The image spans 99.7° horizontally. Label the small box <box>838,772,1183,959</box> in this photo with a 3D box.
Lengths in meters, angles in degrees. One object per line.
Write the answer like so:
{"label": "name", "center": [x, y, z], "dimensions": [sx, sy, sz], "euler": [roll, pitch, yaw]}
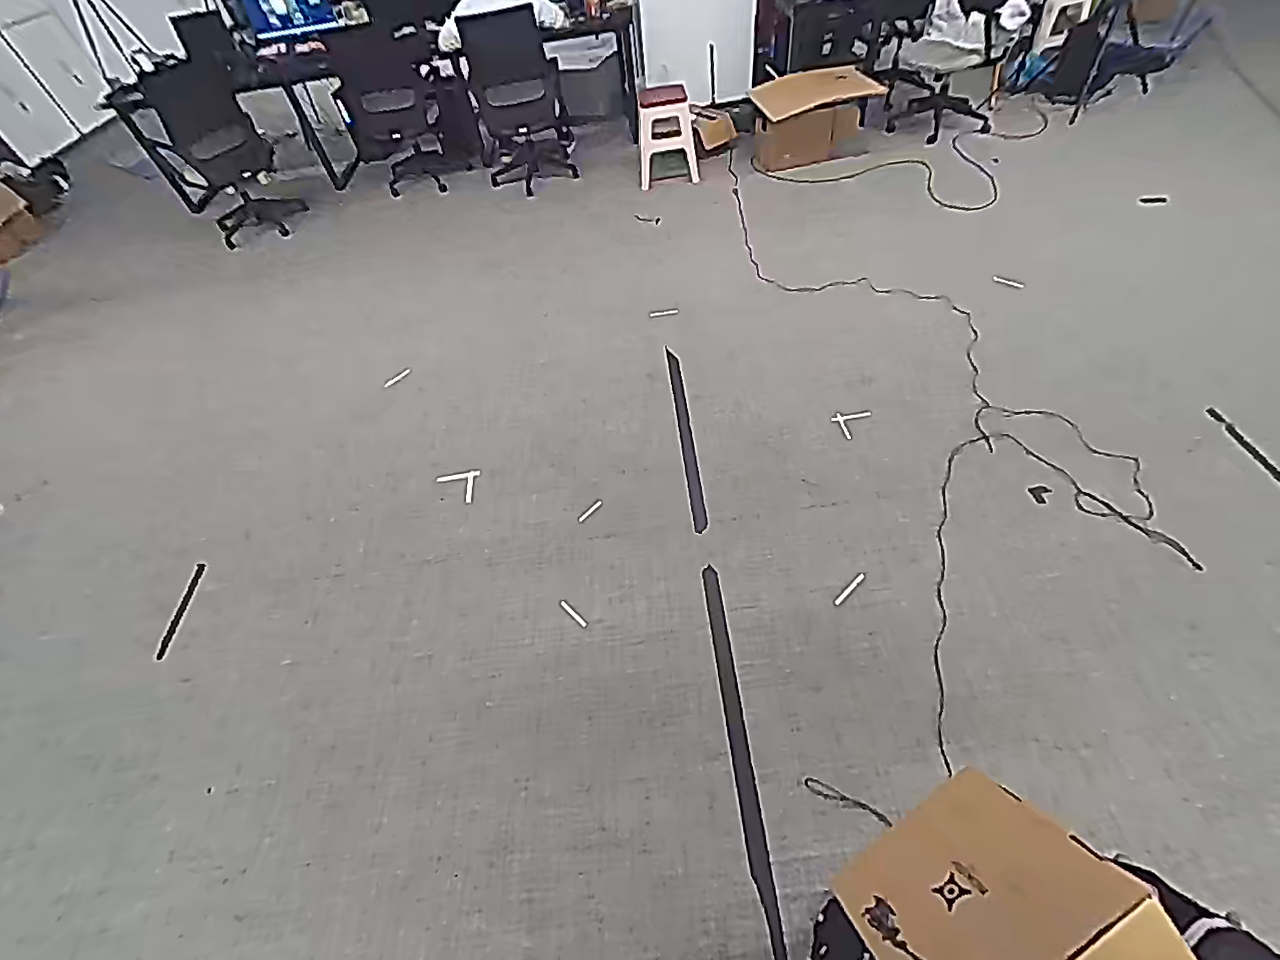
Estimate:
{"label": "small box", "center": [0.306, 0.392, 0.437], "dimensions": [0.179, 0.168, 0.176], "euler": [-34, 91, -5]}
